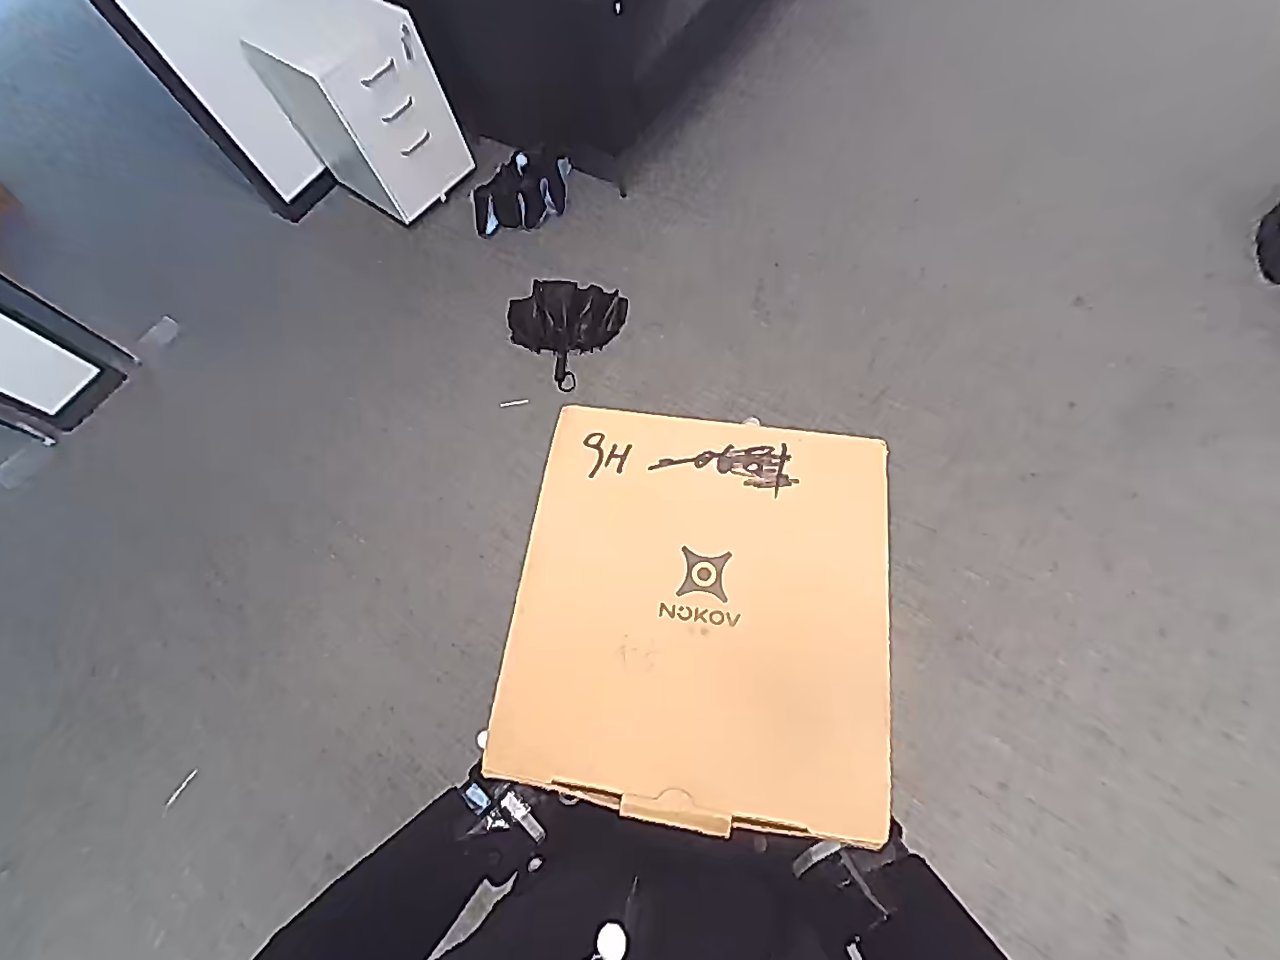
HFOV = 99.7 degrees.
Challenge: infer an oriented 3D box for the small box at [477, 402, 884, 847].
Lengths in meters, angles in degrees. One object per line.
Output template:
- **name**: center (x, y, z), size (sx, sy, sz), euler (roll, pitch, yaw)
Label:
- **small box**: center (0.029, 0.076, 0.319), size (0.168, 0.176, 0.179), euler (7, 72, 6)
